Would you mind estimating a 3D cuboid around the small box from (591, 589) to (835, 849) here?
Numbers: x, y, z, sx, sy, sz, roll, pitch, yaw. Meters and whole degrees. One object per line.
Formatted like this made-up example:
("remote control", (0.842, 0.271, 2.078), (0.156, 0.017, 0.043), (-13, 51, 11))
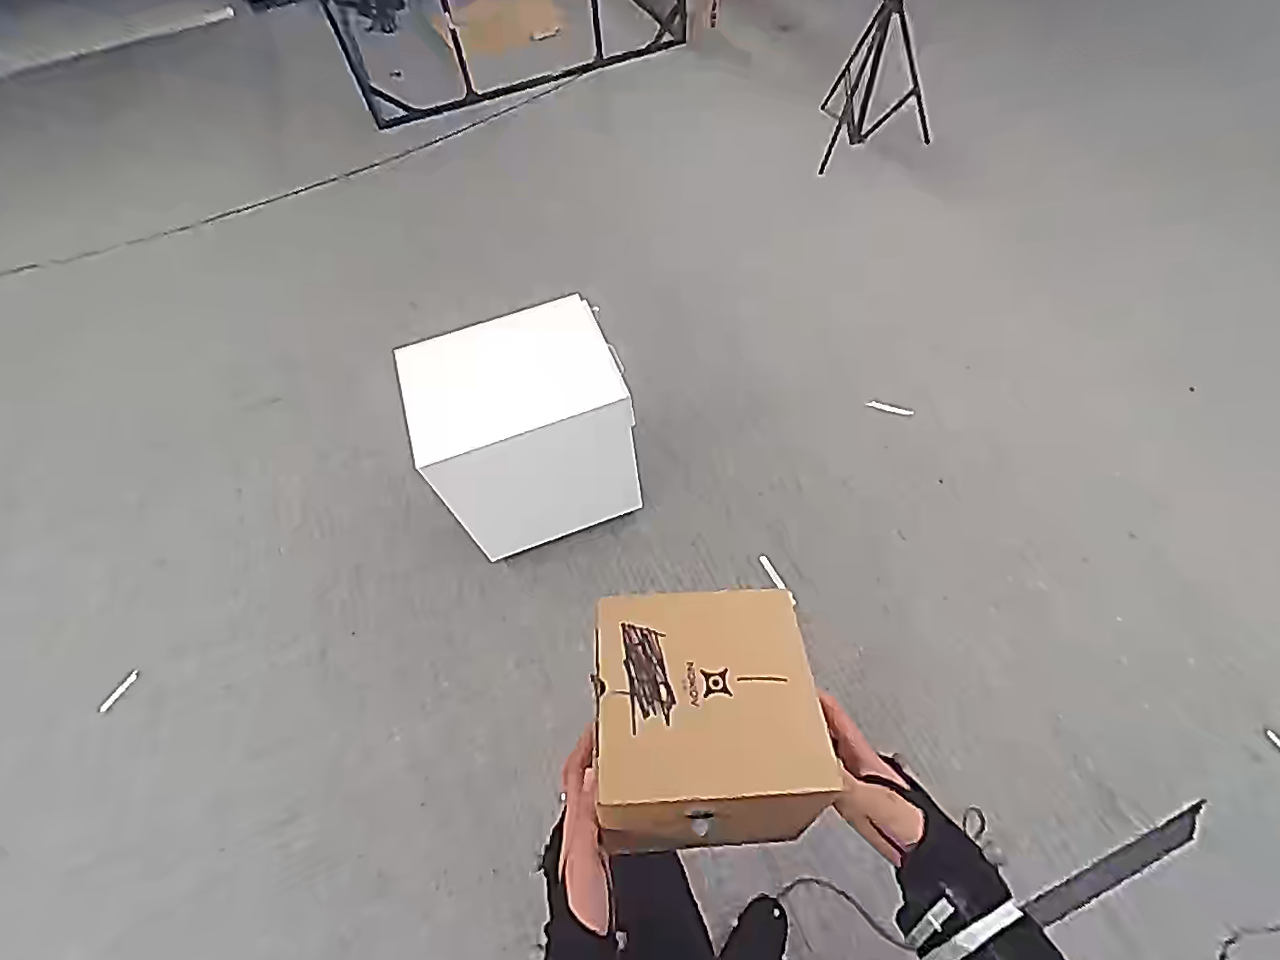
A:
("small box", (0.049, 0.217, 0.490), (0.179, 0.176, 0.168), (-2, 46, -3))
